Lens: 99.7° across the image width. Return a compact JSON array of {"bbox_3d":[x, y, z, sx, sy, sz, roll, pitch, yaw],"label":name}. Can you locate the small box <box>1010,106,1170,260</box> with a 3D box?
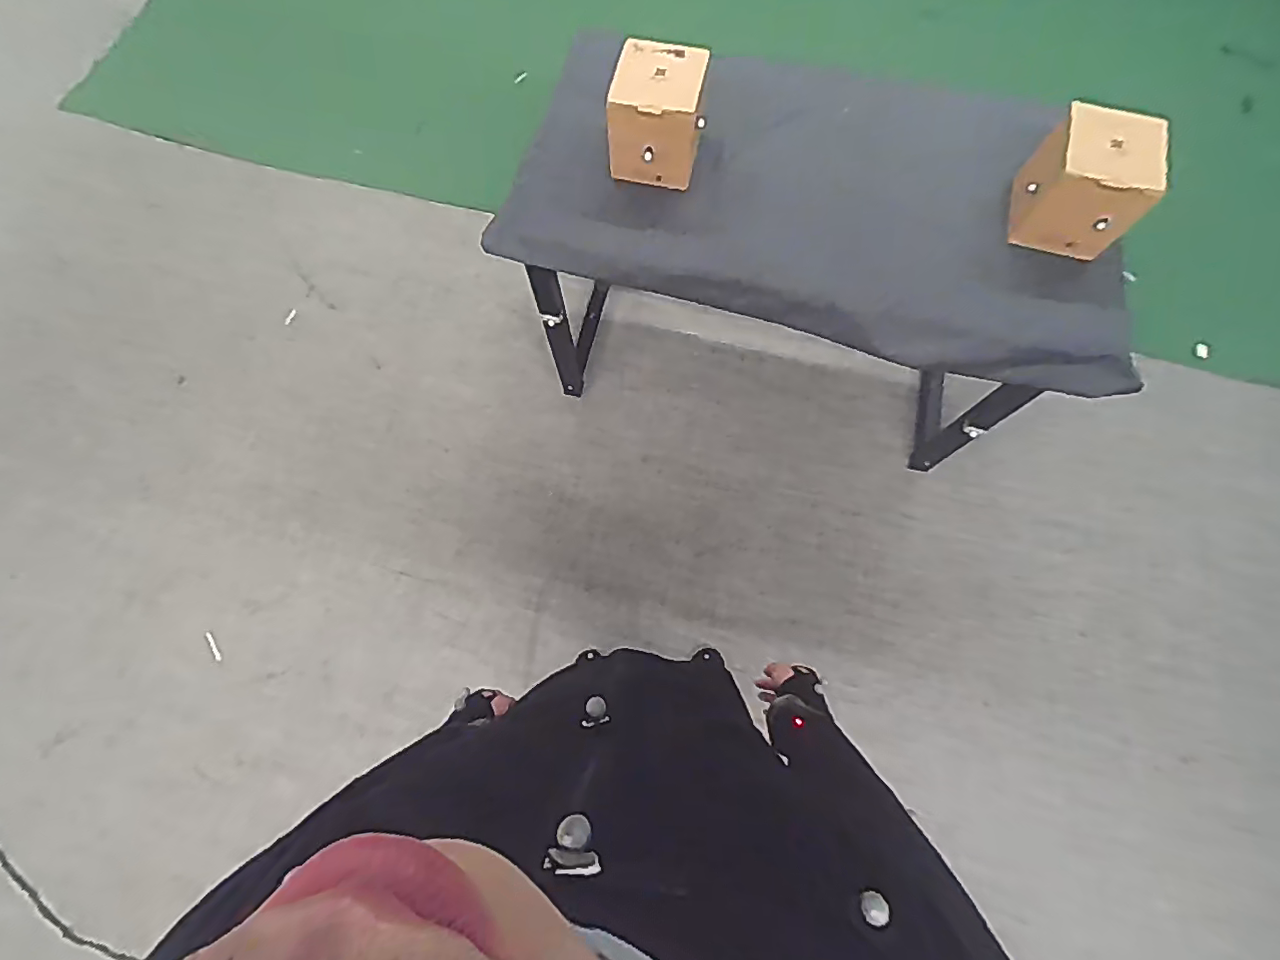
[{"bbox_3d":[0.830,-0.546,1.011,0.168,0.176,0.179,16,71,5],"label":"small box"}]

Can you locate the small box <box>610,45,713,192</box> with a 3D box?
[{"bbox_3d":[0.044,-0.716,1.084,0.168,0.176,0.179,12,72,4],"label":"small box"}]
